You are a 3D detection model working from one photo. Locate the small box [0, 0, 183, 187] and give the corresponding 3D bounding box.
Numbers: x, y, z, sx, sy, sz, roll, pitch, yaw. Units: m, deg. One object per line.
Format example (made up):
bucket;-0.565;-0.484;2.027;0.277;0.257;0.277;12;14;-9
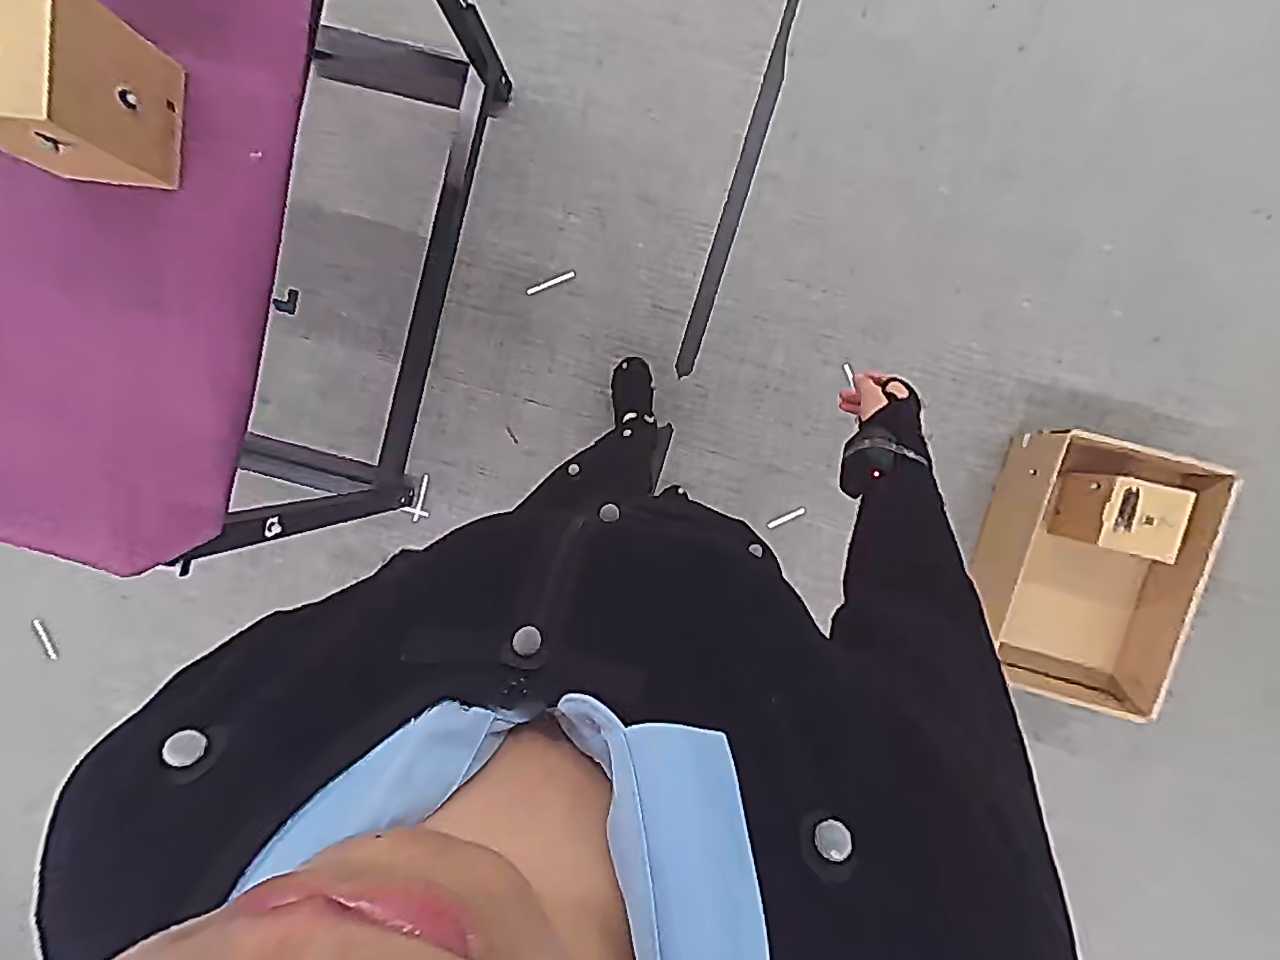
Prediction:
small box;-0.734;-0.498;0.687;0.179;0.176;0.168;7;94;4
